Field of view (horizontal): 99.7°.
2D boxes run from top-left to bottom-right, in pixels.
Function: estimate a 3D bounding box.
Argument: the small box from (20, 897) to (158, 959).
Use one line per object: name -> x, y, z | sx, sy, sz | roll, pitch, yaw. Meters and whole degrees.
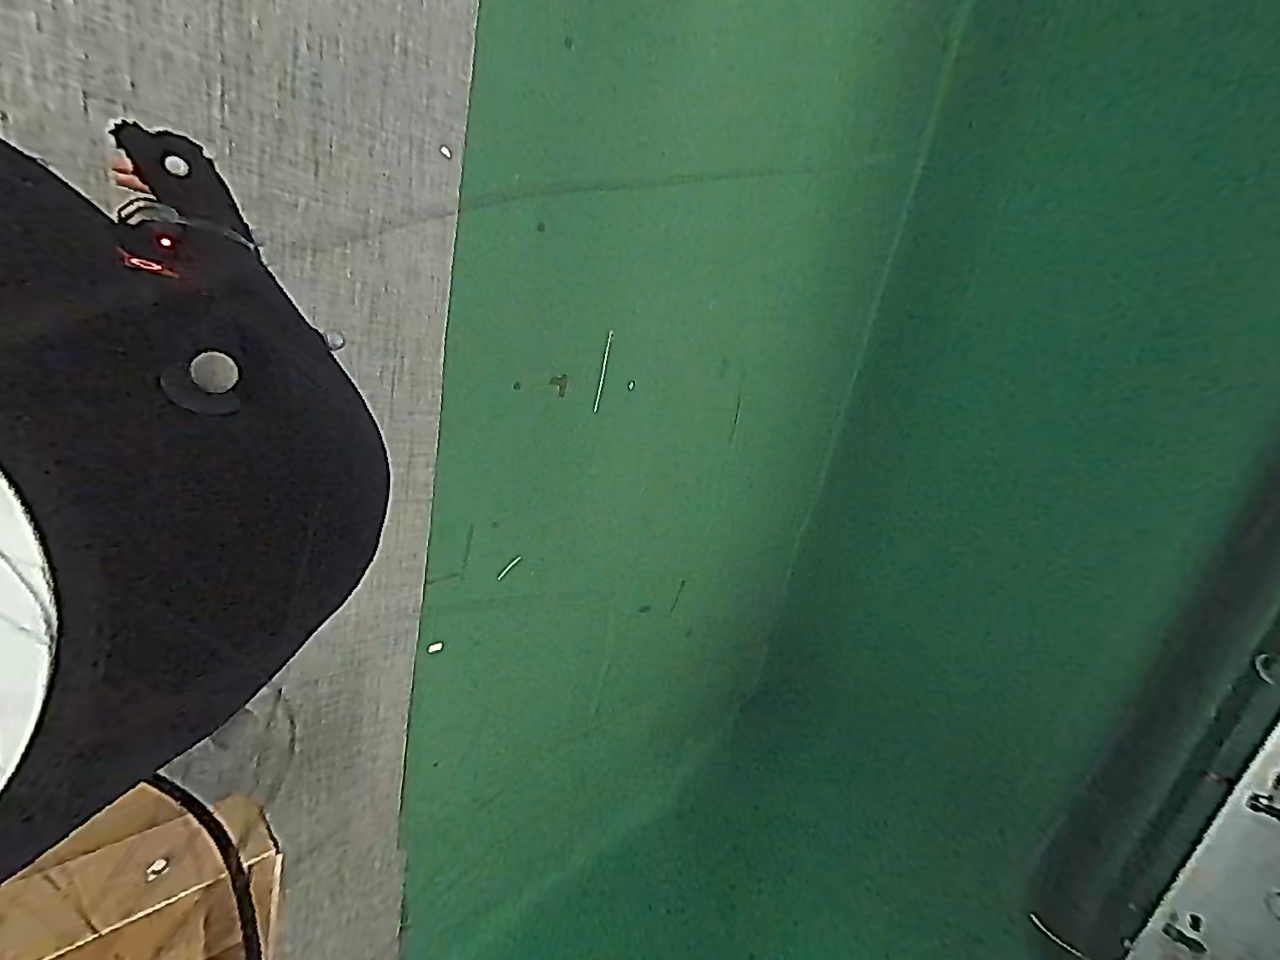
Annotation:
small box -> -0.997, 0.912, 0.980 | 0.168, 0.176, 0.179 | -3, 115, -47
